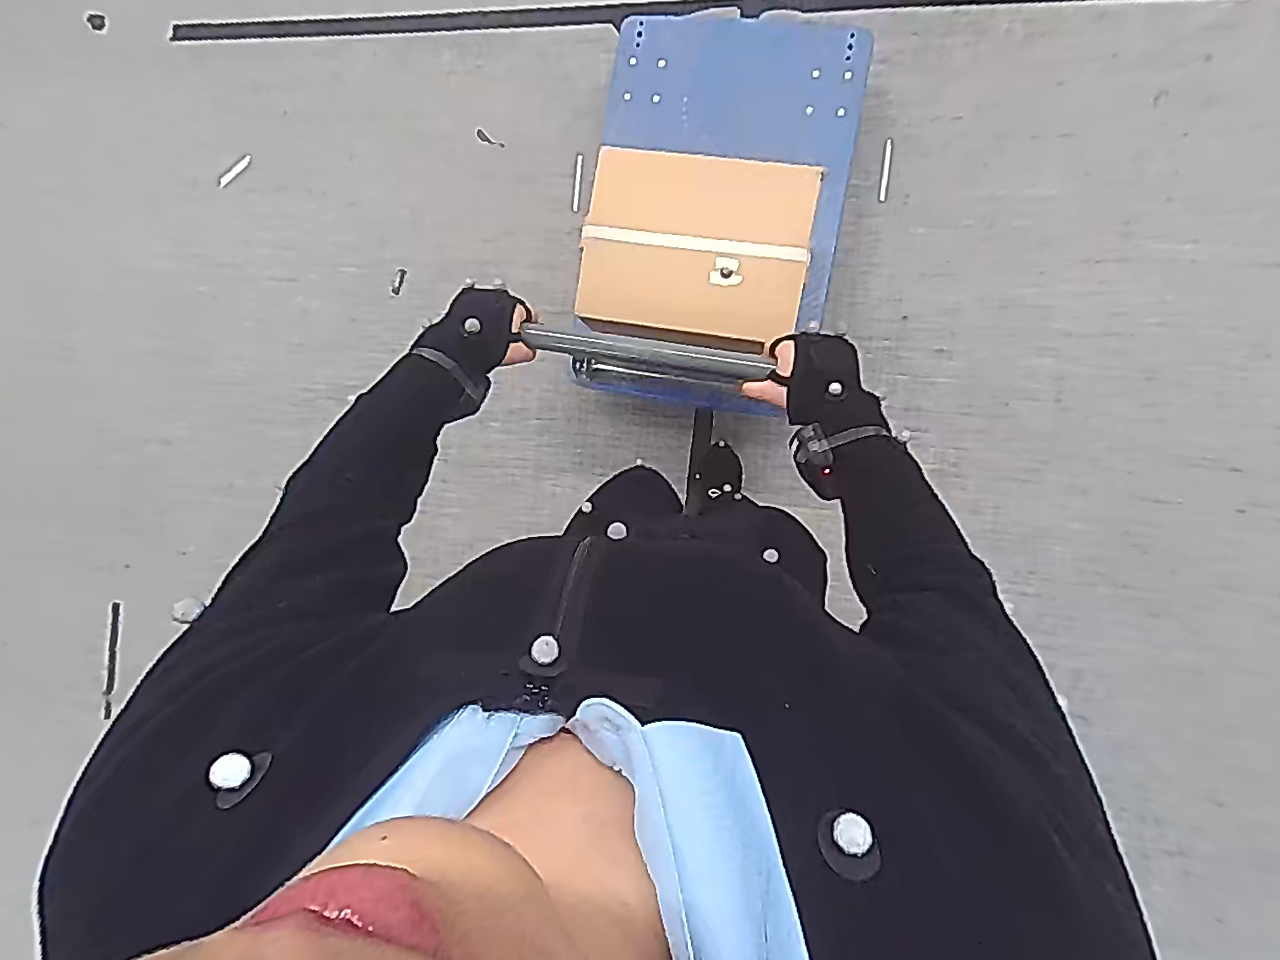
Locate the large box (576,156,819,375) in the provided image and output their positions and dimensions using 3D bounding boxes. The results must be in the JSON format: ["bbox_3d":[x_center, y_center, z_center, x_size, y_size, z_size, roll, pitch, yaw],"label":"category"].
[{"bbox_3d":[0.112,-0.415,1.117,0.408,0.320,0.320,10,94,7],"label":"large box"}]
